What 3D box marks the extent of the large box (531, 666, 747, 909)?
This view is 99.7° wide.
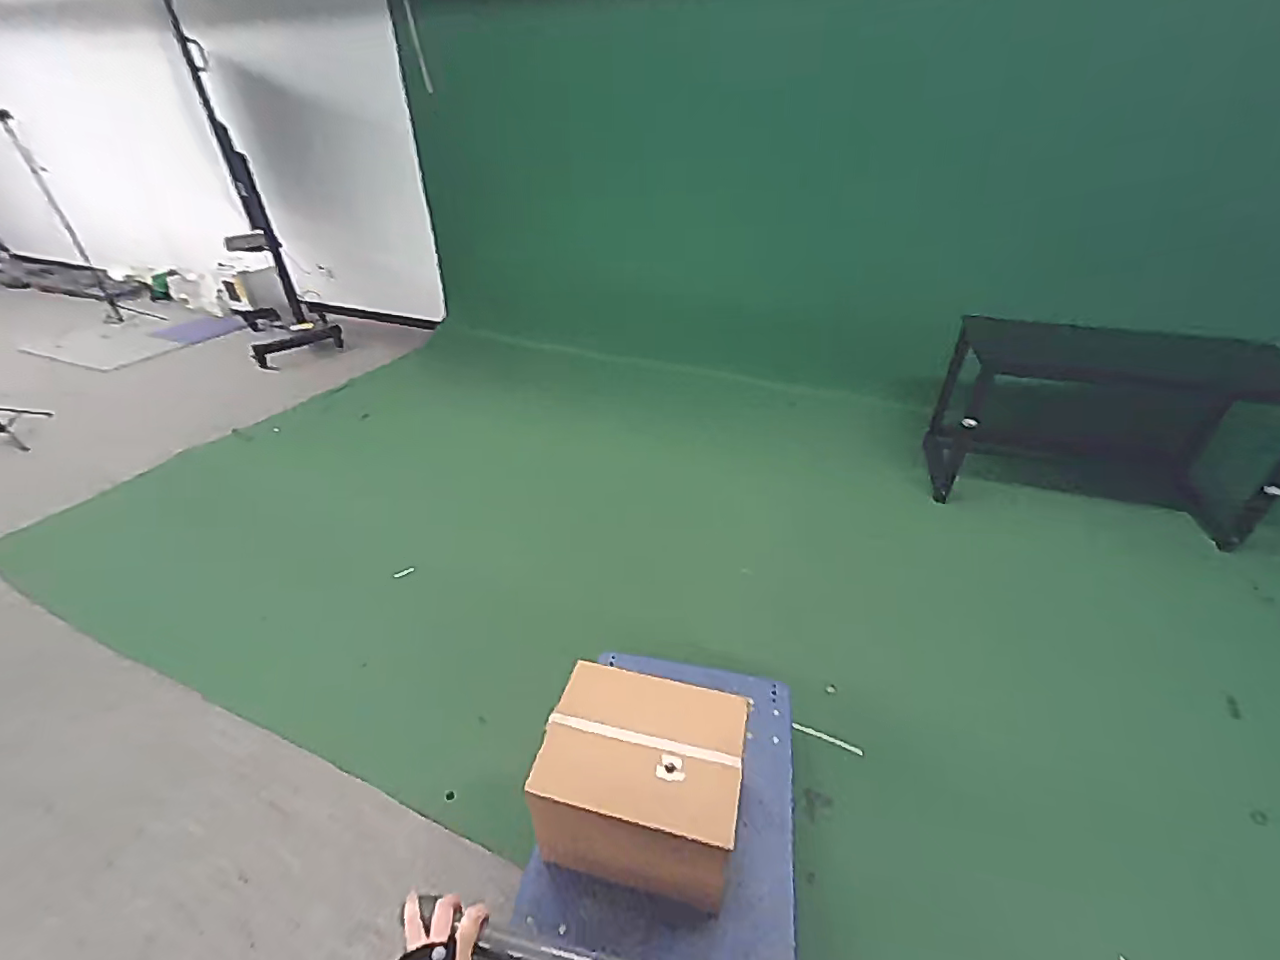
[{"bbox_3d":[0.009,0.676,1.215,0.408,0.320,0.320,9,35,12],"label":"large box"}]
